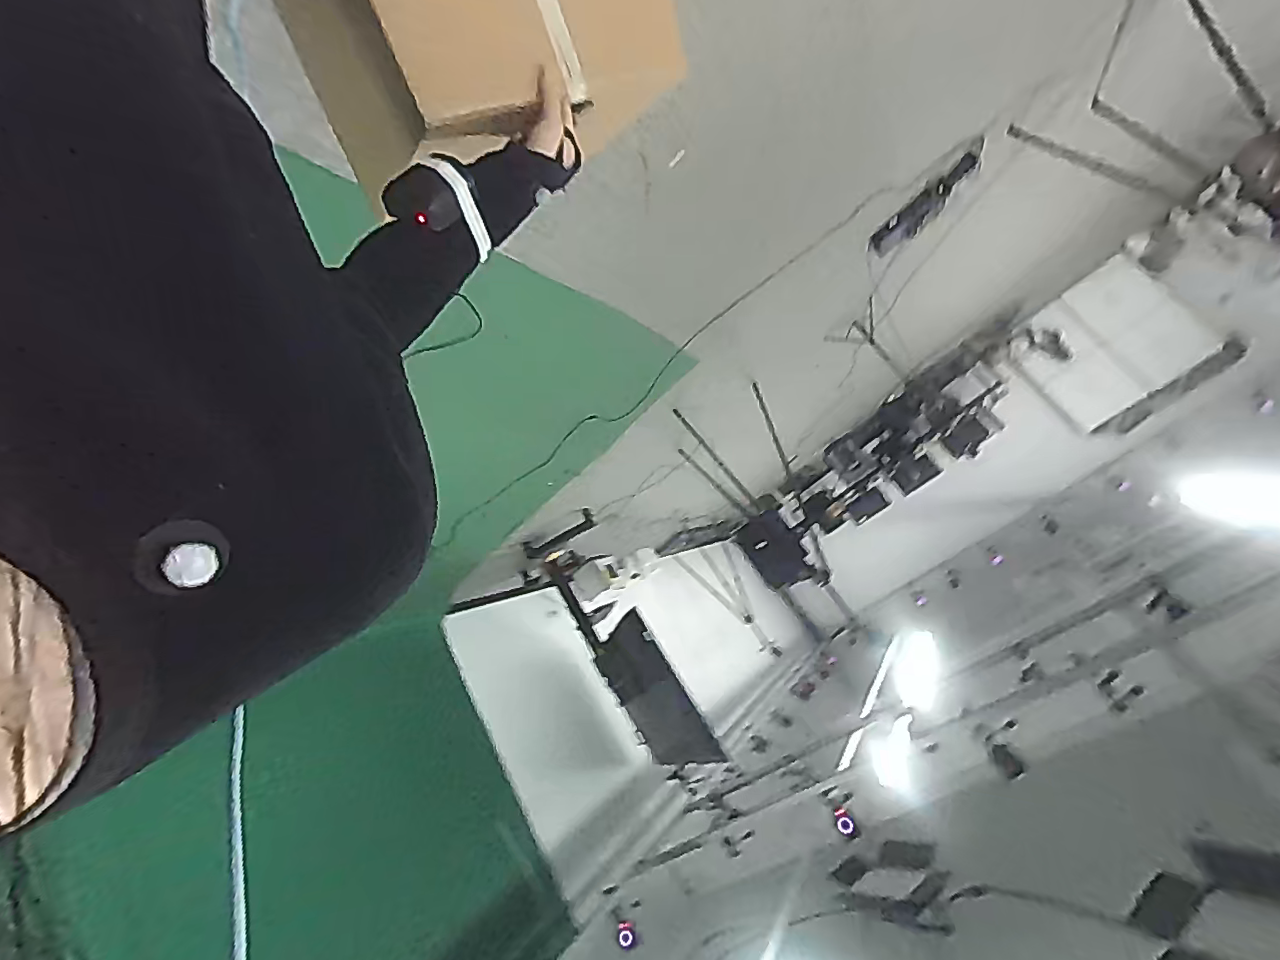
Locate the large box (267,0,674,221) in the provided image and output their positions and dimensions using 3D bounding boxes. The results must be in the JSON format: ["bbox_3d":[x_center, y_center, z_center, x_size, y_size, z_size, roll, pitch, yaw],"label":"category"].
[{"bbox_3d":[-0.227,-0.570,0.591,0.320,0.408,0.320,-32,-158,-25],"label":"large box"}]
